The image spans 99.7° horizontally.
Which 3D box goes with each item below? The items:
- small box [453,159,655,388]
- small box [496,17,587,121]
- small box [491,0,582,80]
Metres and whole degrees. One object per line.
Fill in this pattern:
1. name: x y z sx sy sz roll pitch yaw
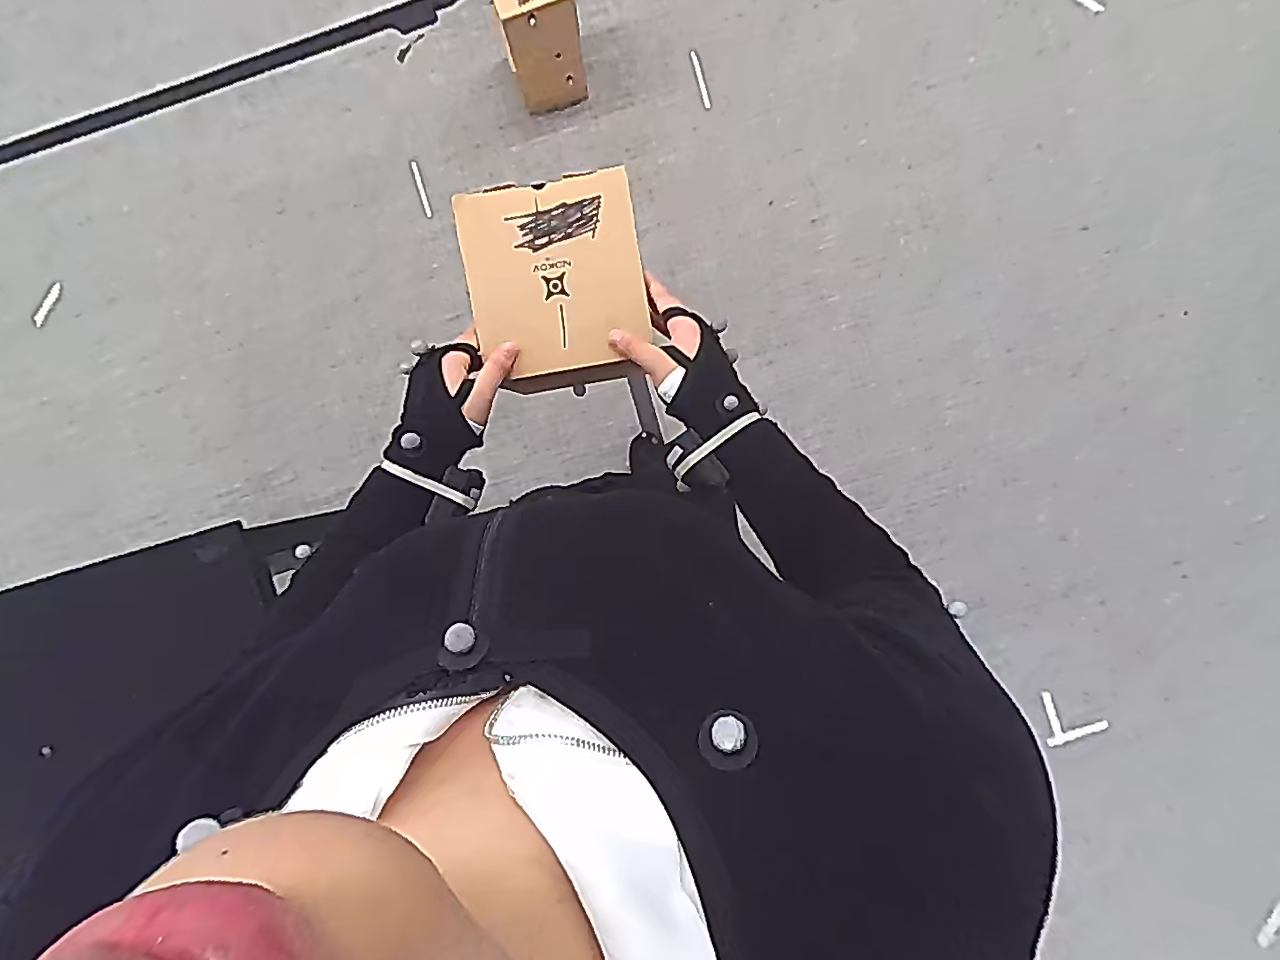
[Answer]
1. small box: -0.080 -0.203 0.580 0.168 0.176 0.179 -10 95 1
2. small box: -0.240 -1.061 1.369 0.179 0.176 0.168 -17 91 2
3. small box: -0.239 -1.053 1.205 0.168 0.176 0.179 -19 91 1
